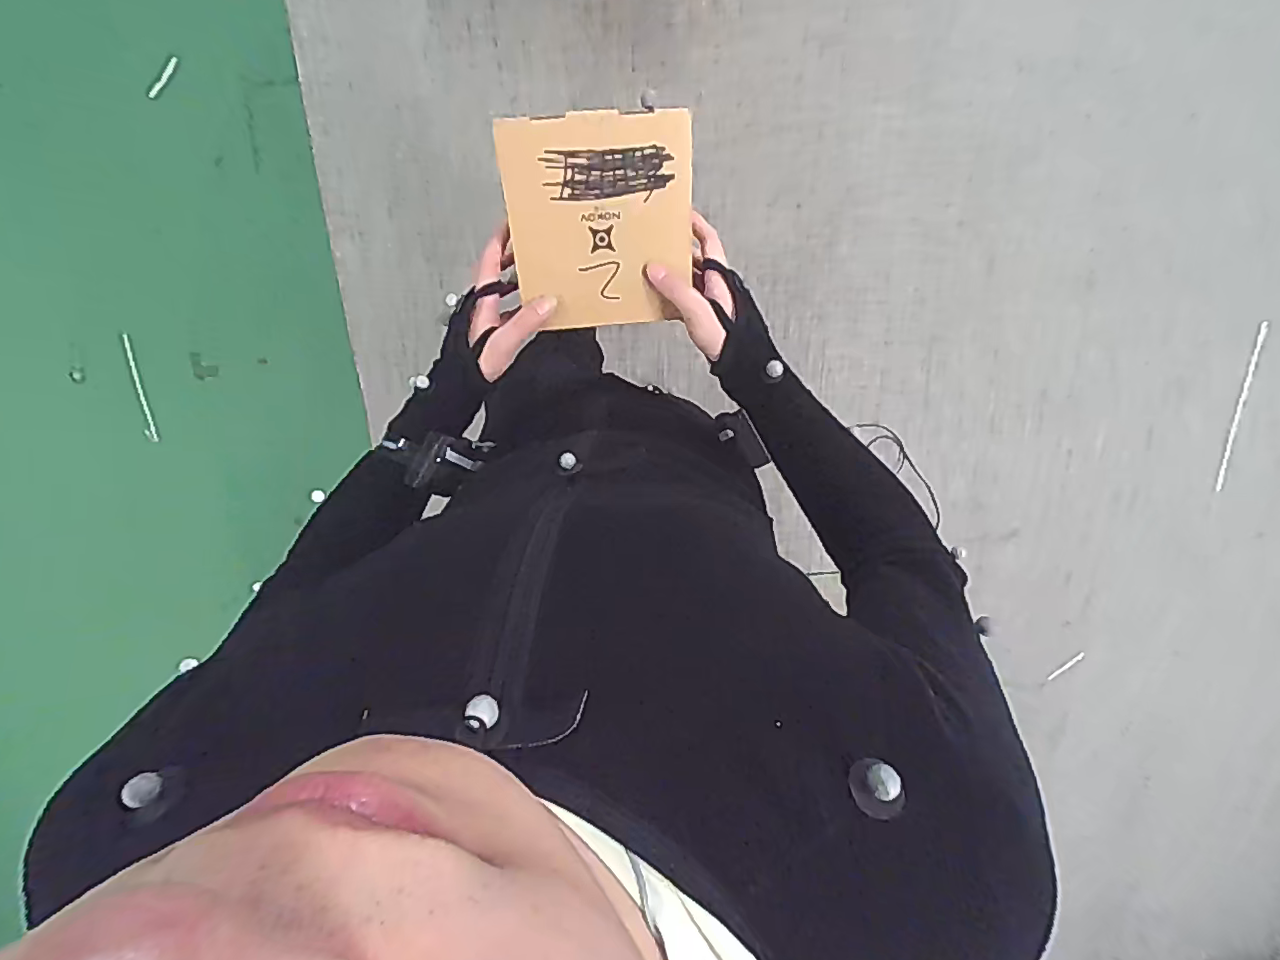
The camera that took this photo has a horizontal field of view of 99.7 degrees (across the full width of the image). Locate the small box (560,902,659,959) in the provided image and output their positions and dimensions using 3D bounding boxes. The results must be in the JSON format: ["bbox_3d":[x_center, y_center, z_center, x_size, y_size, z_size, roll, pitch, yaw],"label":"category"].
[{"bbox_3d":[-0.064,1.029,1.135,0.168,0.176,0.179,-20,107,8],"label":"small box"}]
